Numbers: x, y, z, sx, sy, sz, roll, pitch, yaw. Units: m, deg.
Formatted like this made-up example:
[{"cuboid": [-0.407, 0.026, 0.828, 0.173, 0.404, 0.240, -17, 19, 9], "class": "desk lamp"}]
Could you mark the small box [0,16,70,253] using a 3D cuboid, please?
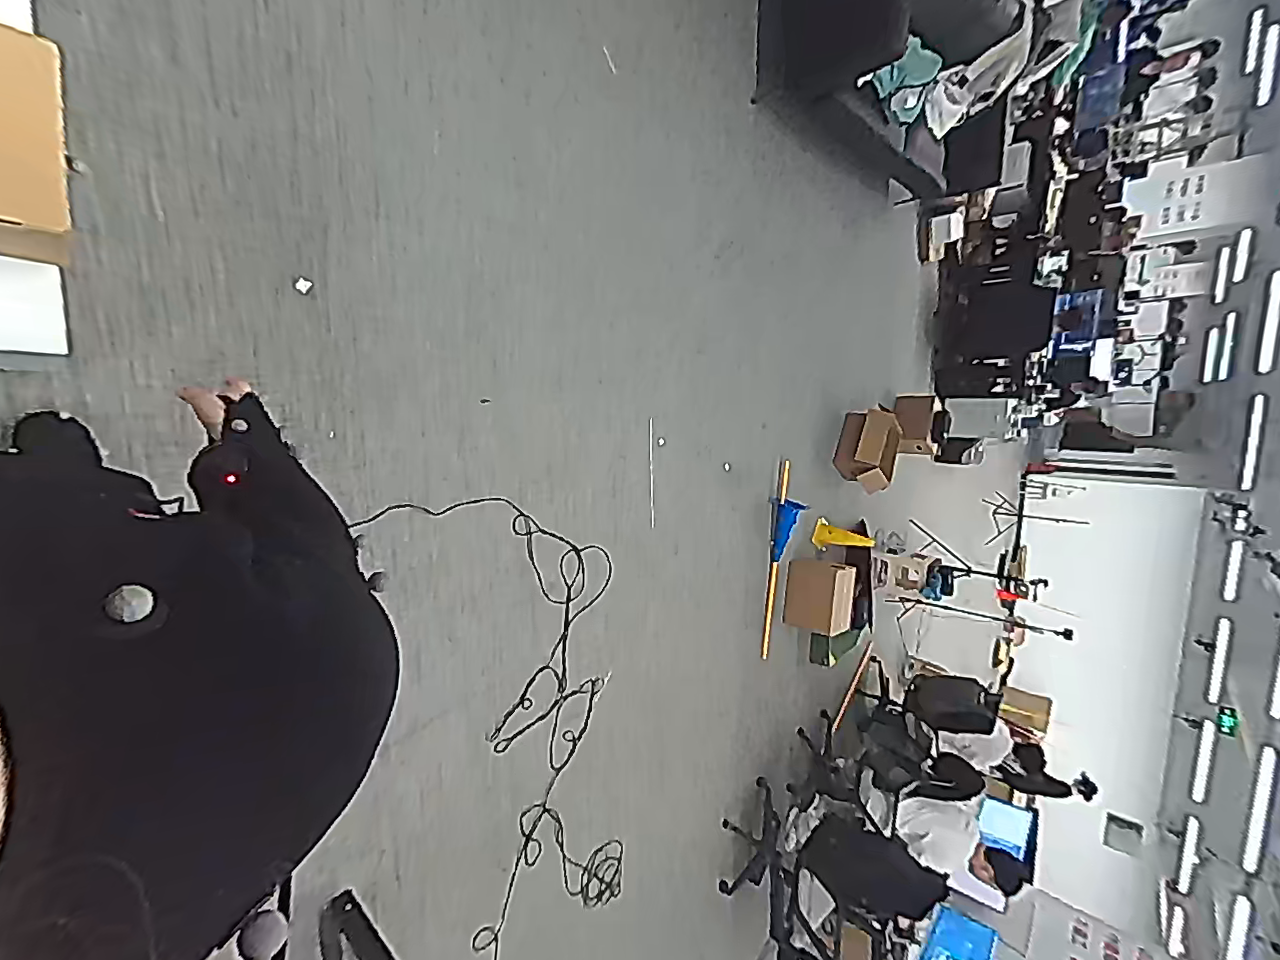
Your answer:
[{"cuboid": [-0.665, -0.335, 0.510, 0.168, 0.176, 0.179, -4, 99, -47], "class": "small box"}]
